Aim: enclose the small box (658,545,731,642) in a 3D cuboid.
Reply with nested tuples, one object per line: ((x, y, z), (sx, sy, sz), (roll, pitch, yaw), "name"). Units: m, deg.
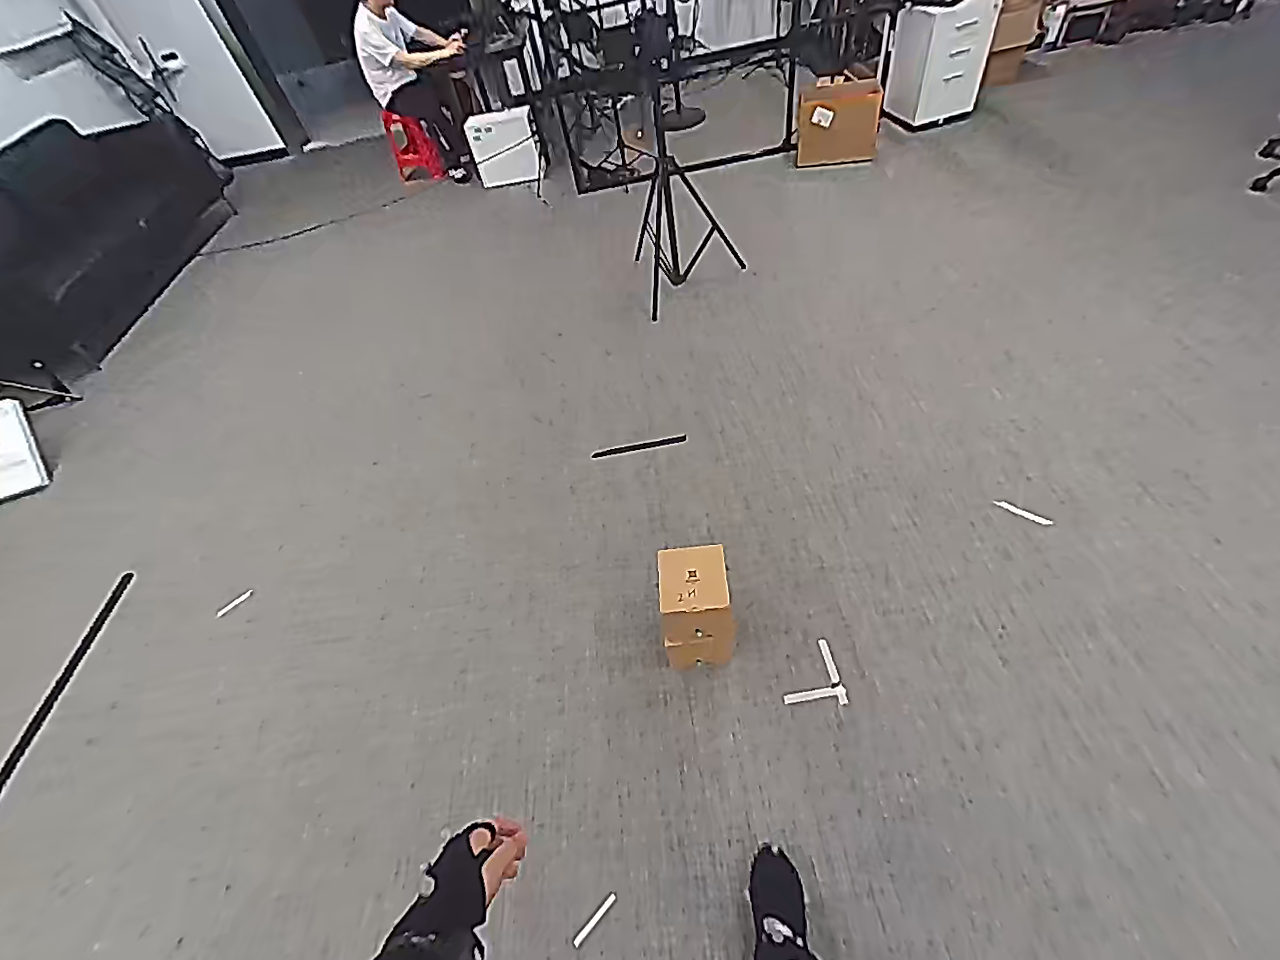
((0.136, 0.287, 1.360), (0.168, 0.176, 0.179), (-7, 50, 7), "small box")
